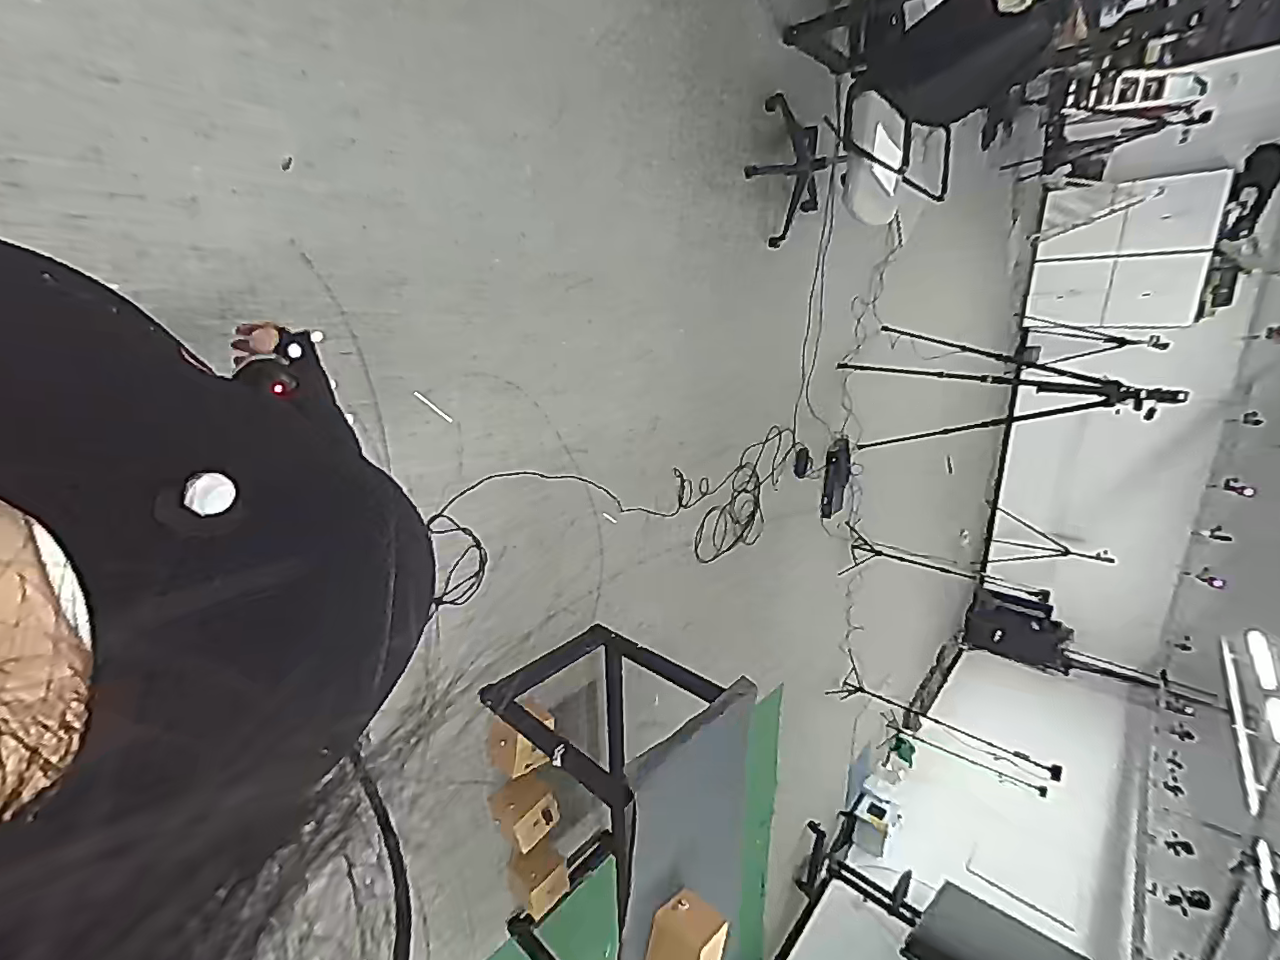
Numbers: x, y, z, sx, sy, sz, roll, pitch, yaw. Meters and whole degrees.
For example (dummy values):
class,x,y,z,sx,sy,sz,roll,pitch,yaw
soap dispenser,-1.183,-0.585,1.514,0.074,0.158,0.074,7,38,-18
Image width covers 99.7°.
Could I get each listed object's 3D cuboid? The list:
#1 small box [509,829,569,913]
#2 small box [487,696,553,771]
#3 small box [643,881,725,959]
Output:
class,x,y,z,sx,sy,sz,roll,pitch,yaw
small box,-0.415,1.575,2.186,0.179,0.176,0.168,-24,118,-42
small box,-0.442,0.913,1.976,0.168,0.176,0.179,-1,101,-48
small box,0.130,1.377,1.633,0.168,0.176,0.179,10,91,-52
